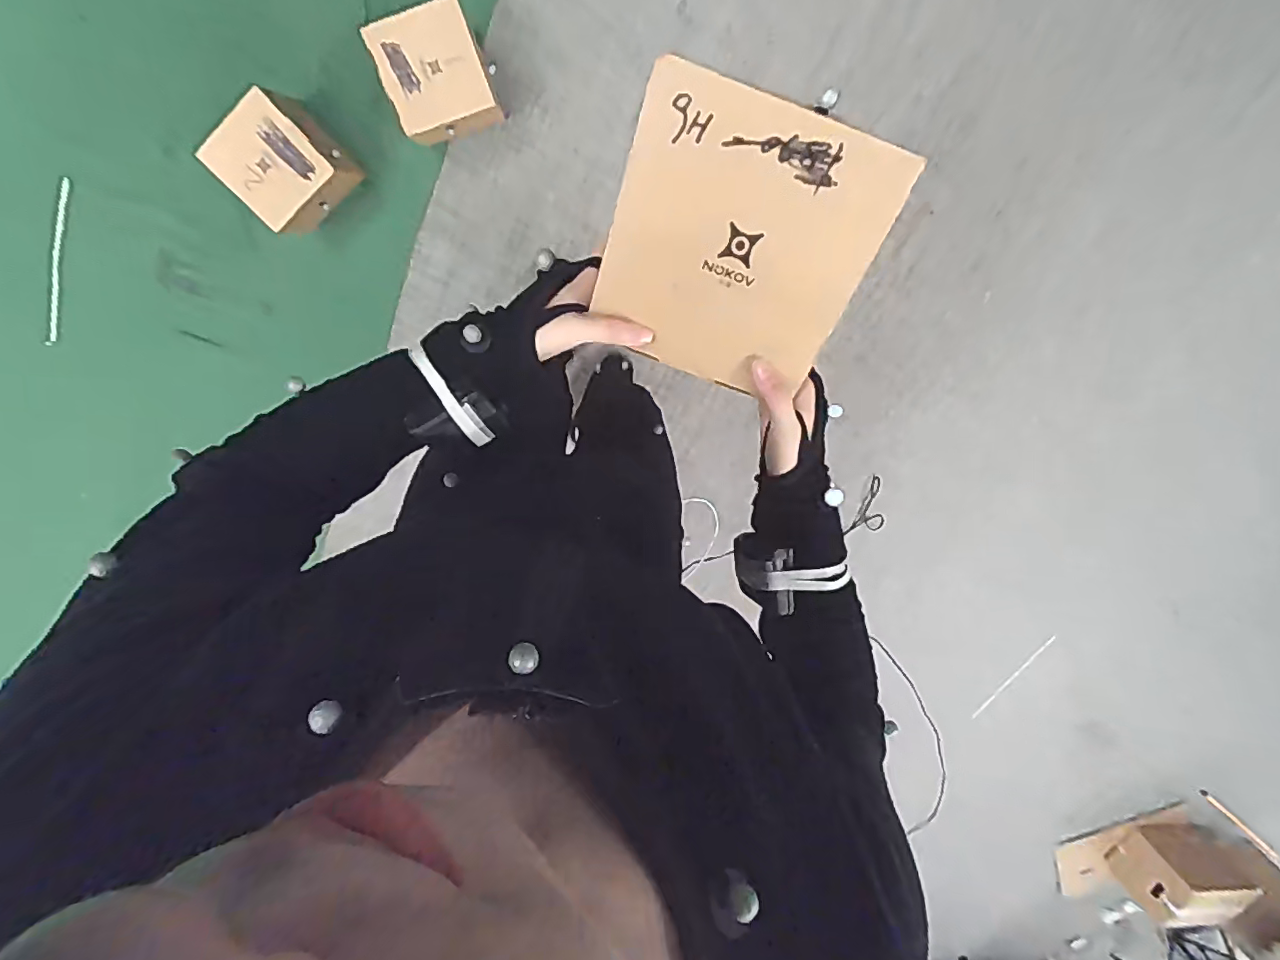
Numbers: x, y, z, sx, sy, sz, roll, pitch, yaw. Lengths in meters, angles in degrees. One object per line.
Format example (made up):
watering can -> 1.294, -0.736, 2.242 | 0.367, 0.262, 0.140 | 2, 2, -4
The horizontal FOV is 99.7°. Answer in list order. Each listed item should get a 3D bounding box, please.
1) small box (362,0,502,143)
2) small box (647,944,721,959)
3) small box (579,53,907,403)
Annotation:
small box -> -0.377, -0.757, 1.018 | 0.179, 0.176, 0.168 | -18, 118, 1
small box -> 0.106, 1.283, 1.329 | 0.179, 0.176, 0.168 | 27, 111, -19
small box -> 0.068, -0.195, 0.420 | 0.168, 0.176, 0.179 | 19, 127, -4
